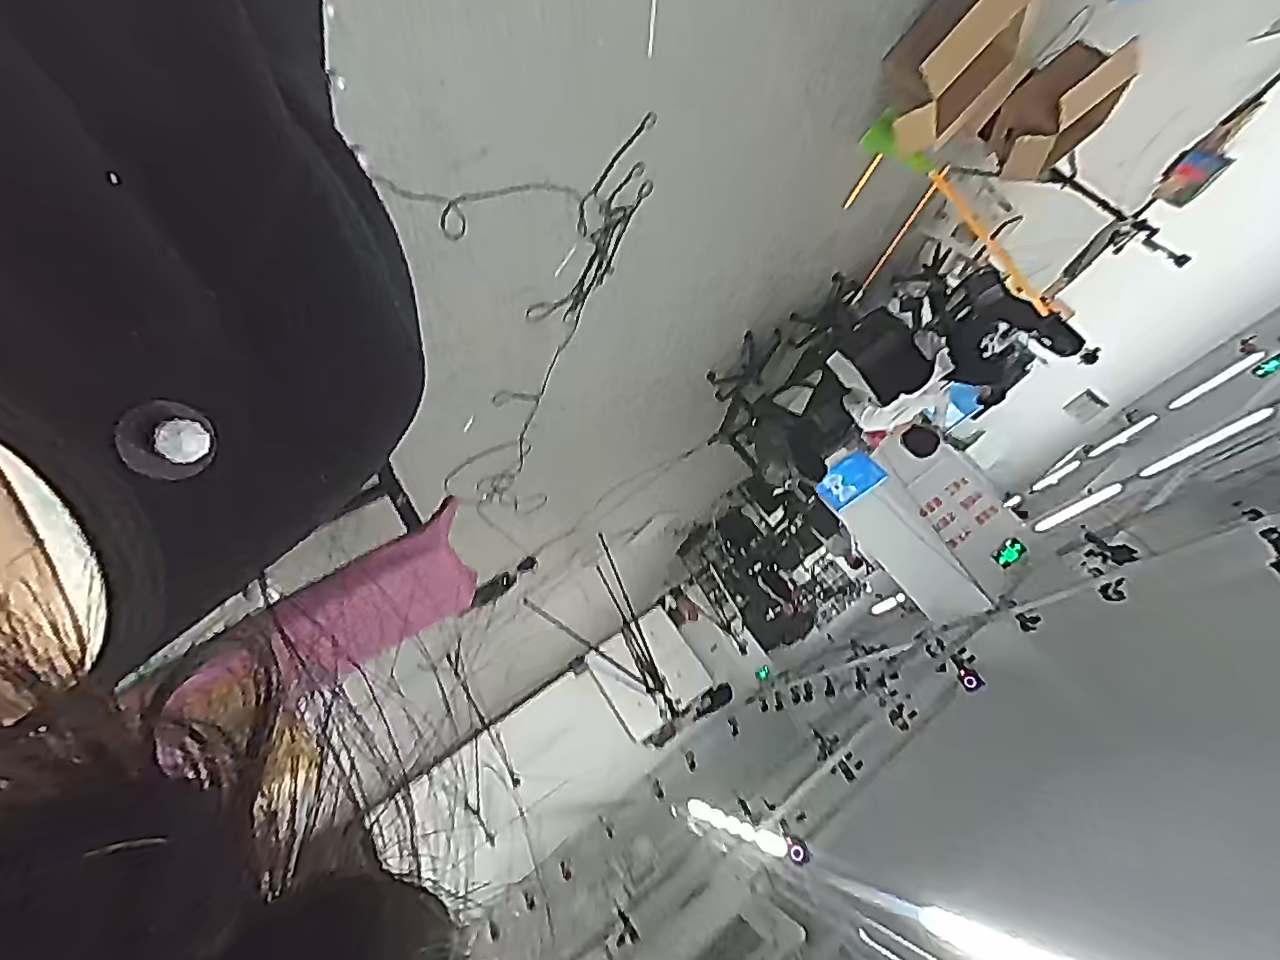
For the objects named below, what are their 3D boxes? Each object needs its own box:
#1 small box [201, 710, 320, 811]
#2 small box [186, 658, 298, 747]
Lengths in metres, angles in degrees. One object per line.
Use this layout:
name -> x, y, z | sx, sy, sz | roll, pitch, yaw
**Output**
small box -> -0.999, 0.729, 1.432 | 0.168, 0.176, 0.179 | -35, 162, -12
small box -> -1.103, 0.618, 1.501 | 0.168, 0.176, 0.179 | -32, 161, -17
